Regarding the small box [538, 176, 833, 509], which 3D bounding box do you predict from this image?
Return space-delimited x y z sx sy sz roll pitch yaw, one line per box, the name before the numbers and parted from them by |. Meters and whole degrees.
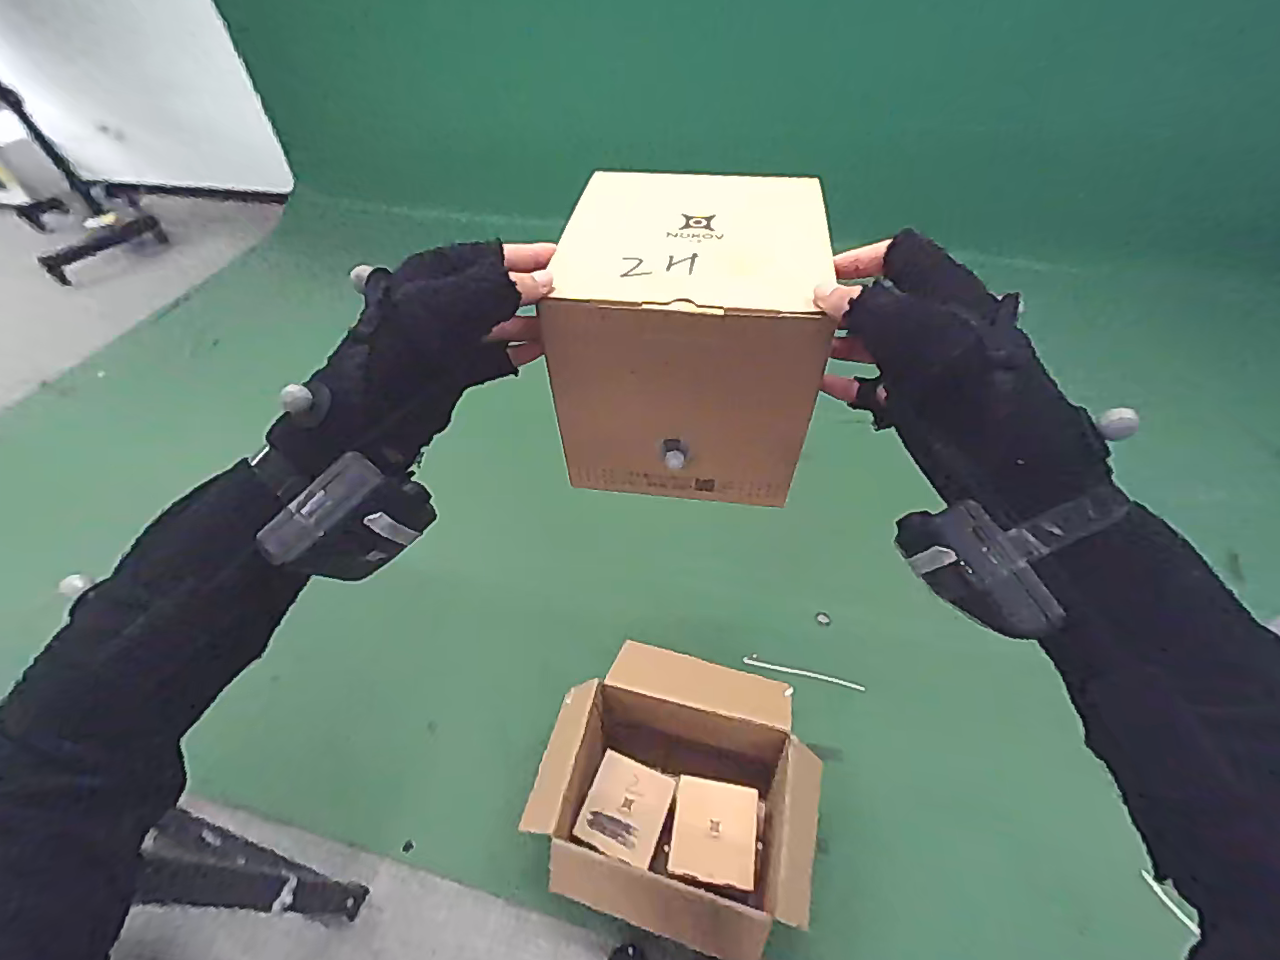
small box | 0.035 -0.102 0.407 0.168 0.176 0.179 5 51 6
